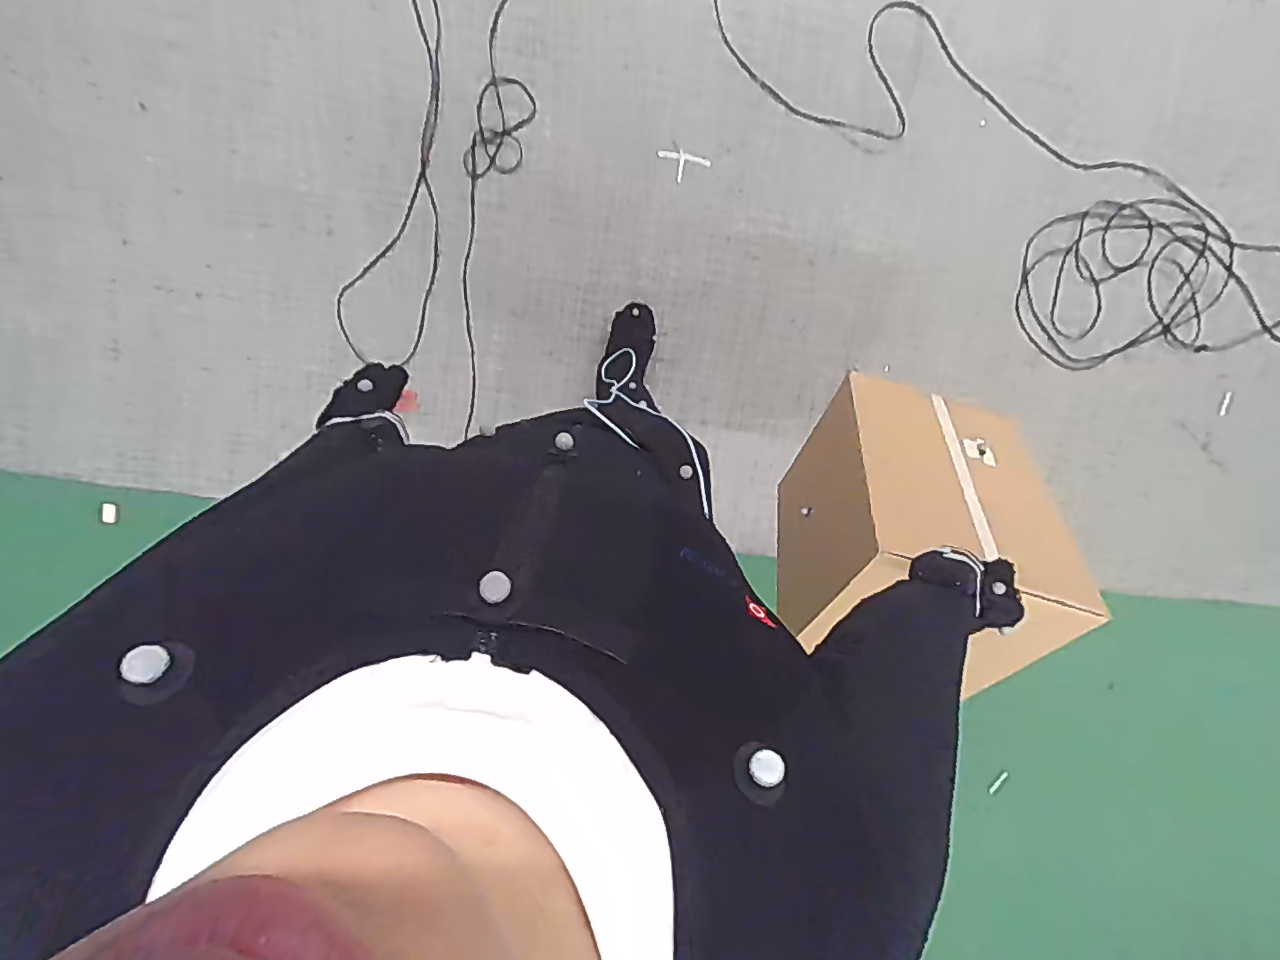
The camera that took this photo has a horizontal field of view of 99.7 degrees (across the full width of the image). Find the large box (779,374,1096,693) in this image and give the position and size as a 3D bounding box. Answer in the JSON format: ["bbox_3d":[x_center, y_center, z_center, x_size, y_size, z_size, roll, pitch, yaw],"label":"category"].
[{"bbox_3d":[0.444,0.089,0.932,0.320,0.408,0.320,17,135,-3],"label":"large box"}]
